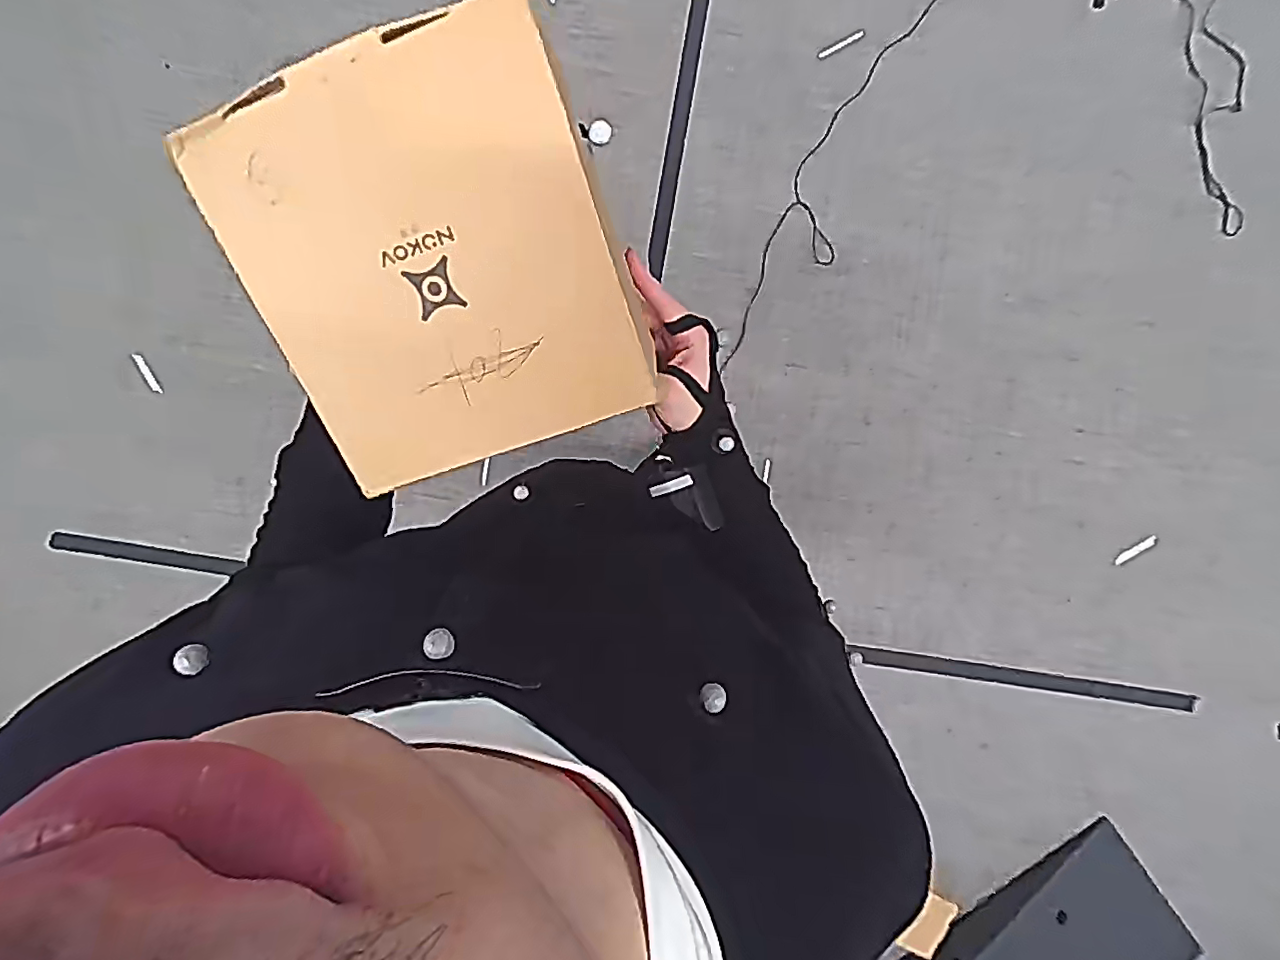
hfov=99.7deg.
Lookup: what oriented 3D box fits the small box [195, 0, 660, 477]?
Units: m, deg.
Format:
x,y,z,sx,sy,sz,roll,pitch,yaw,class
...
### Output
x,y,z,sx,sy,sz,roll,pitch,yaw,class
-0.093,-0.130,0.331,0.168,0.176,0.179,-17,112,9,small box
